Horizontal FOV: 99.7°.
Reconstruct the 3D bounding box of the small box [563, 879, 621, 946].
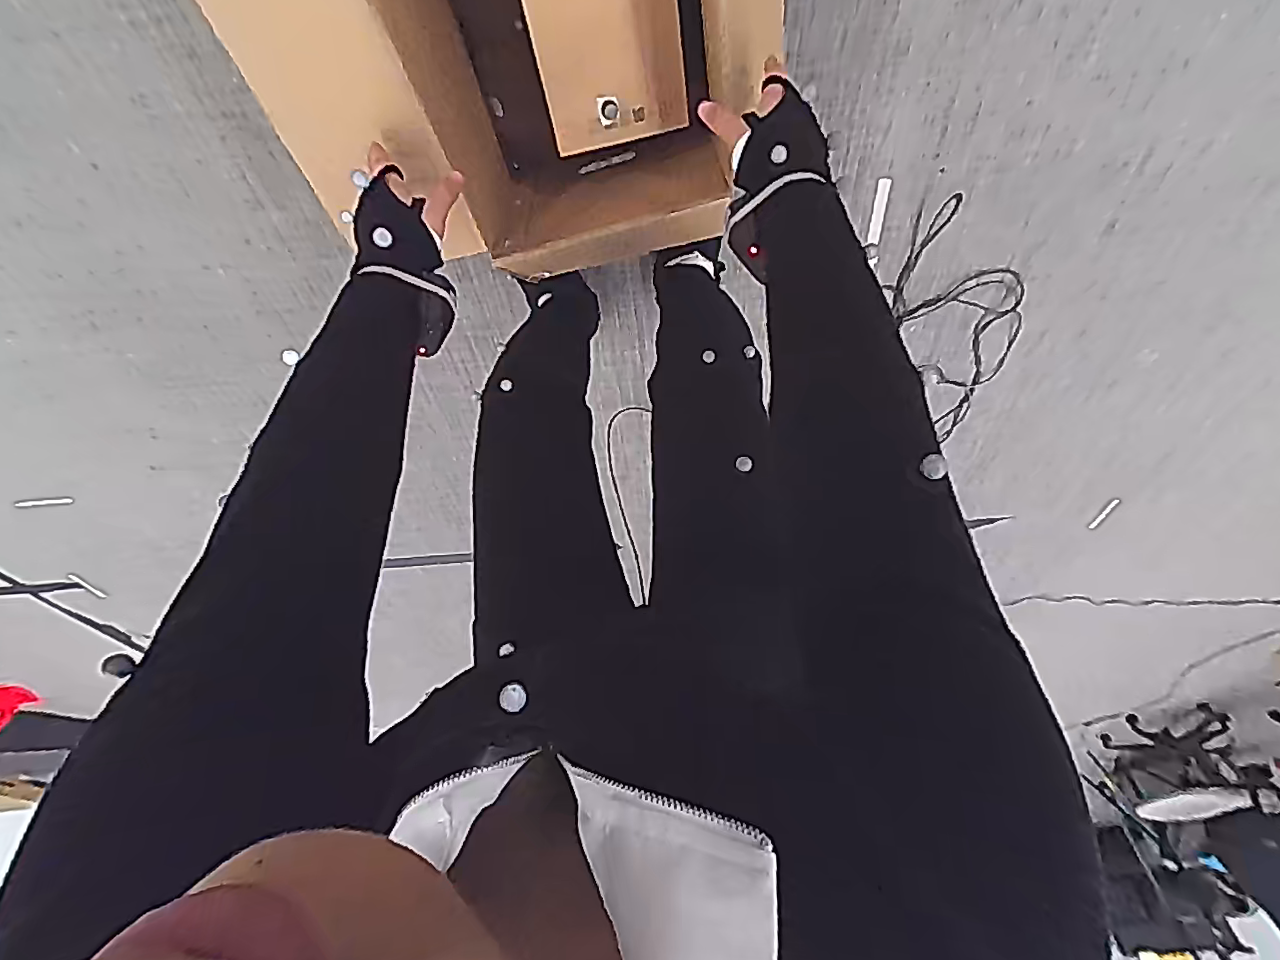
[{"bbox_3d":[-0.160,1.464,1.830,0.179,0.176,0.168,-3,139,2],"label":"small box"}]
